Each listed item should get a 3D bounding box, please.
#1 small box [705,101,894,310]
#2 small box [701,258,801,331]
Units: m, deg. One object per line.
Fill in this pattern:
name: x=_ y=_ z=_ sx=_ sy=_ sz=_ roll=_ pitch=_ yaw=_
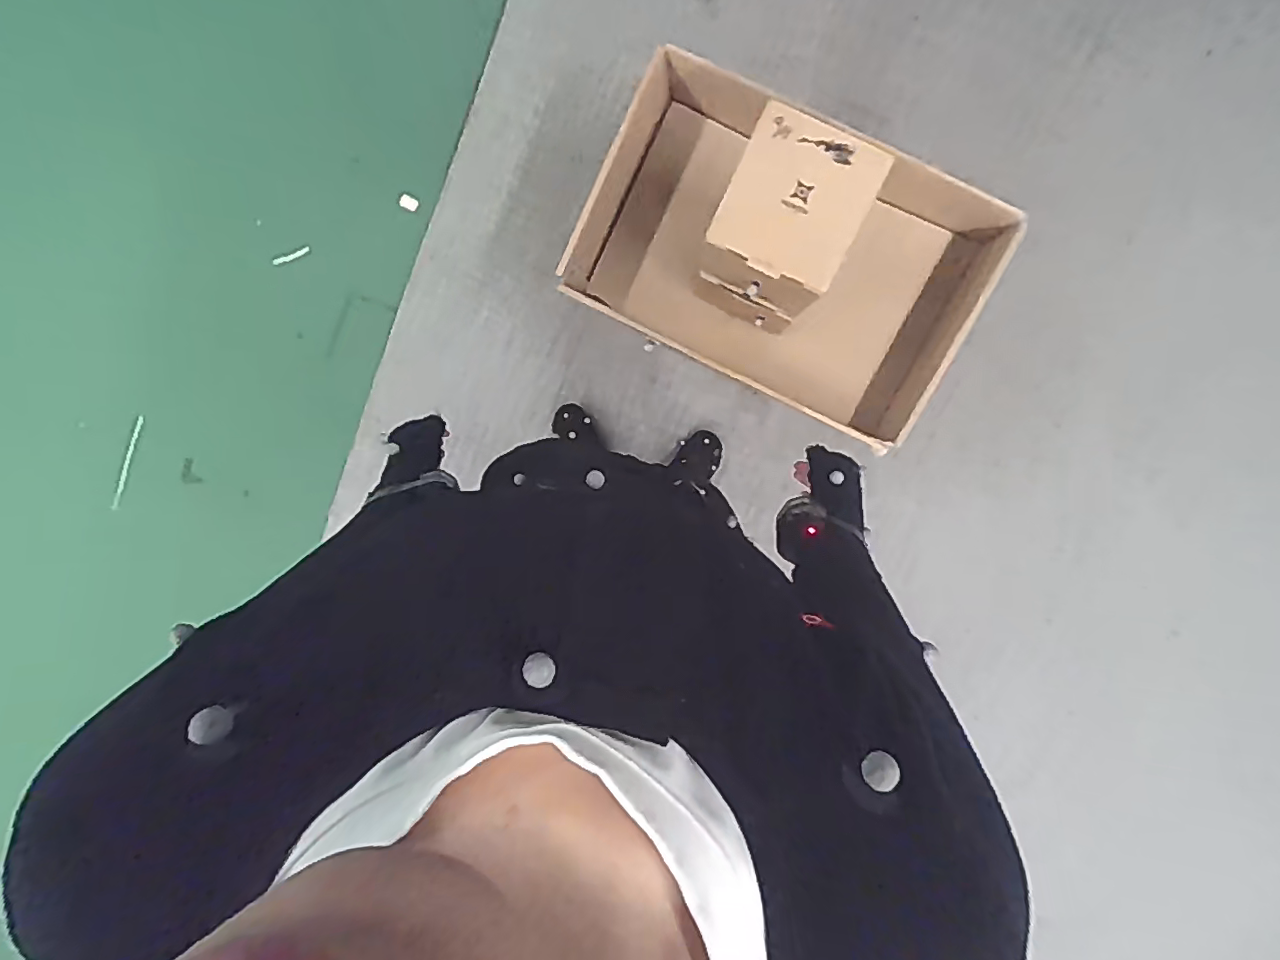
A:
small box: x=0.200 y=-0.350 z=0.730 sx=0.168 sy=0.176 sz=0.179 roll=26 pitch=100 yaw=1
small box: x=0.211 y=-0.365 z=0.893 sx=0.168 sy=0.176 sz=0.179 roll=26 pitch=98 yaw=1
